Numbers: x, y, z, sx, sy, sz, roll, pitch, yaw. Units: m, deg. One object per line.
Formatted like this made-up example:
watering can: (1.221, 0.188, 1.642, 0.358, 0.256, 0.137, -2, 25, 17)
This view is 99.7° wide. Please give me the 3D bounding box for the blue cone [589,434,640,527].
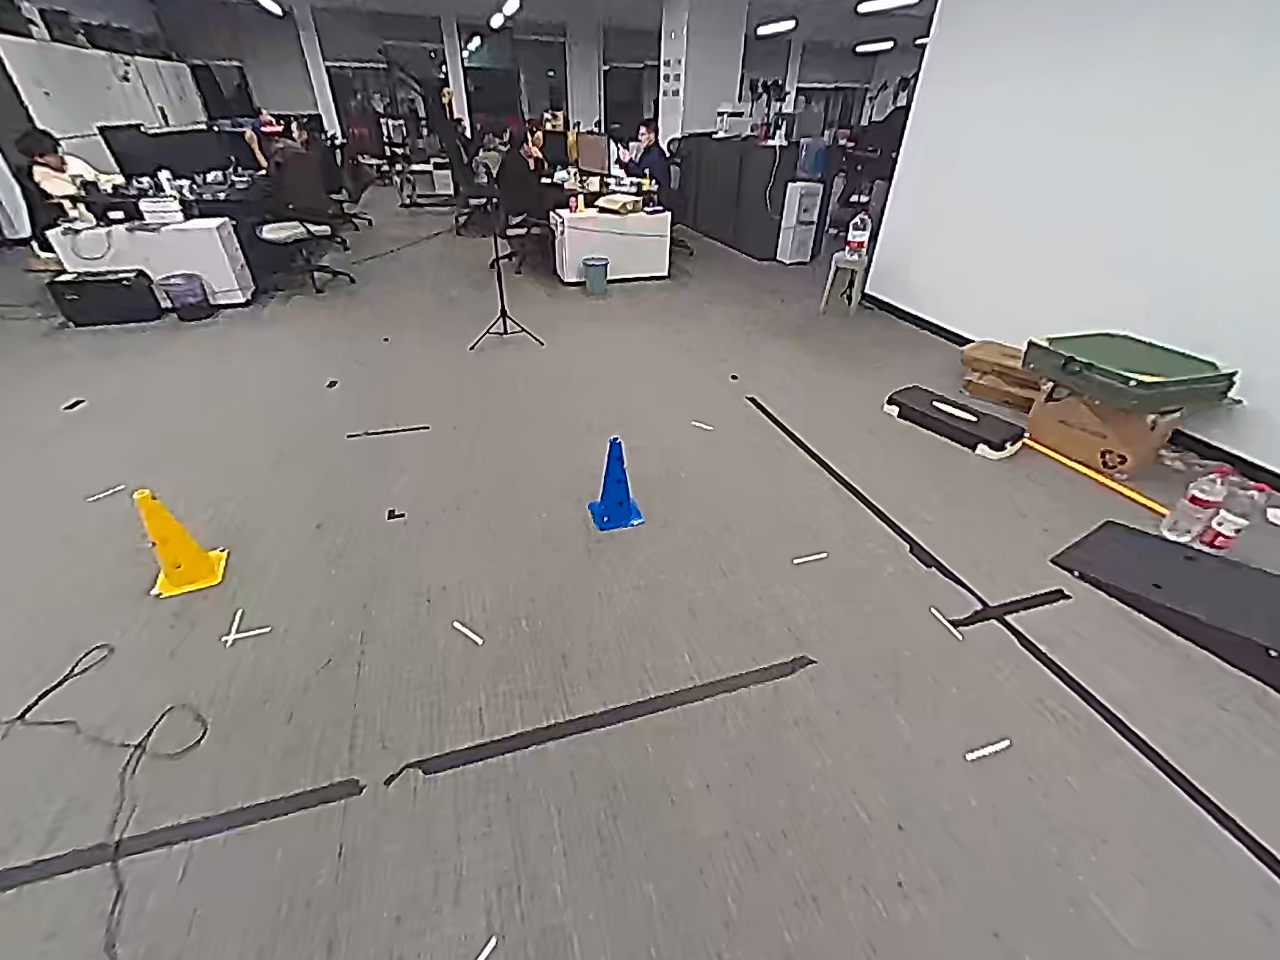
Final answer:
blue cone: (-0.101, -0.005, 2.168, 0.193, 0.380, 0.192, -9, 35, -15)
